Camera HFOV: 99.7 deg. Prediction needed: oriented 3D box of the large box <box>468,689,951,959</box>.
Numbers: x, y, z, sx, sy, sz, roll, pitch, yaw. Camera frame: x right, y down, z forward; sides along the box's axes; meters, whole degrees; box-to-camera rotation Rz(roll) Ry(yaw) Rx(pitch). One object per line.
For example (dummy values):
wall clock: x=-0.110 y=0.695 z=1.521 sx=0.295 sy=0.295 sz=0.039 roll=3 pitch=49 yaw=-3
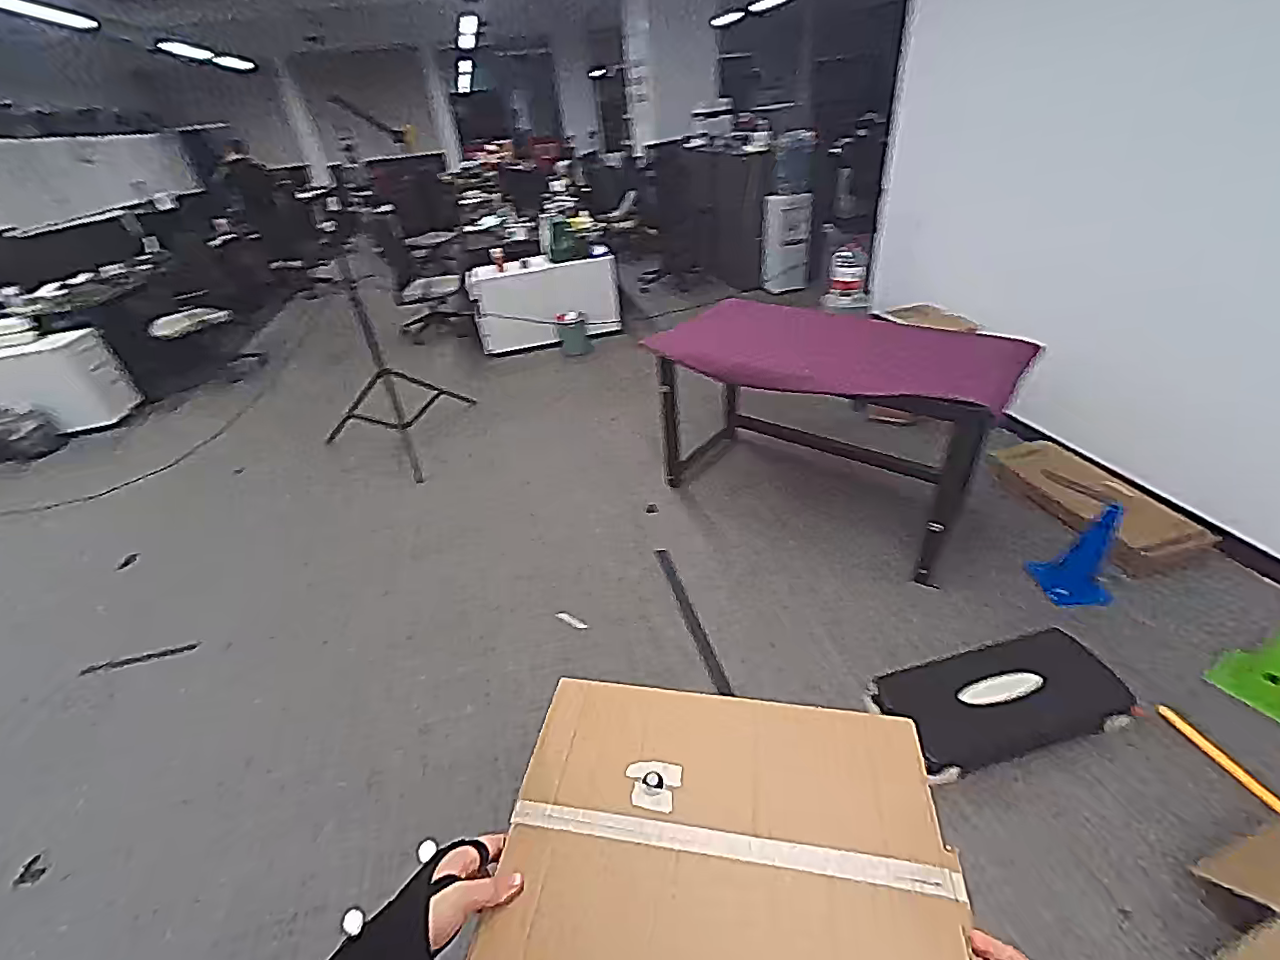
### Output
large box: x=0.082 y=0.467 z=0.601 sx=0.408 sy=0.320 sz=0.320 roll=0 pitch=35 yaw=12
